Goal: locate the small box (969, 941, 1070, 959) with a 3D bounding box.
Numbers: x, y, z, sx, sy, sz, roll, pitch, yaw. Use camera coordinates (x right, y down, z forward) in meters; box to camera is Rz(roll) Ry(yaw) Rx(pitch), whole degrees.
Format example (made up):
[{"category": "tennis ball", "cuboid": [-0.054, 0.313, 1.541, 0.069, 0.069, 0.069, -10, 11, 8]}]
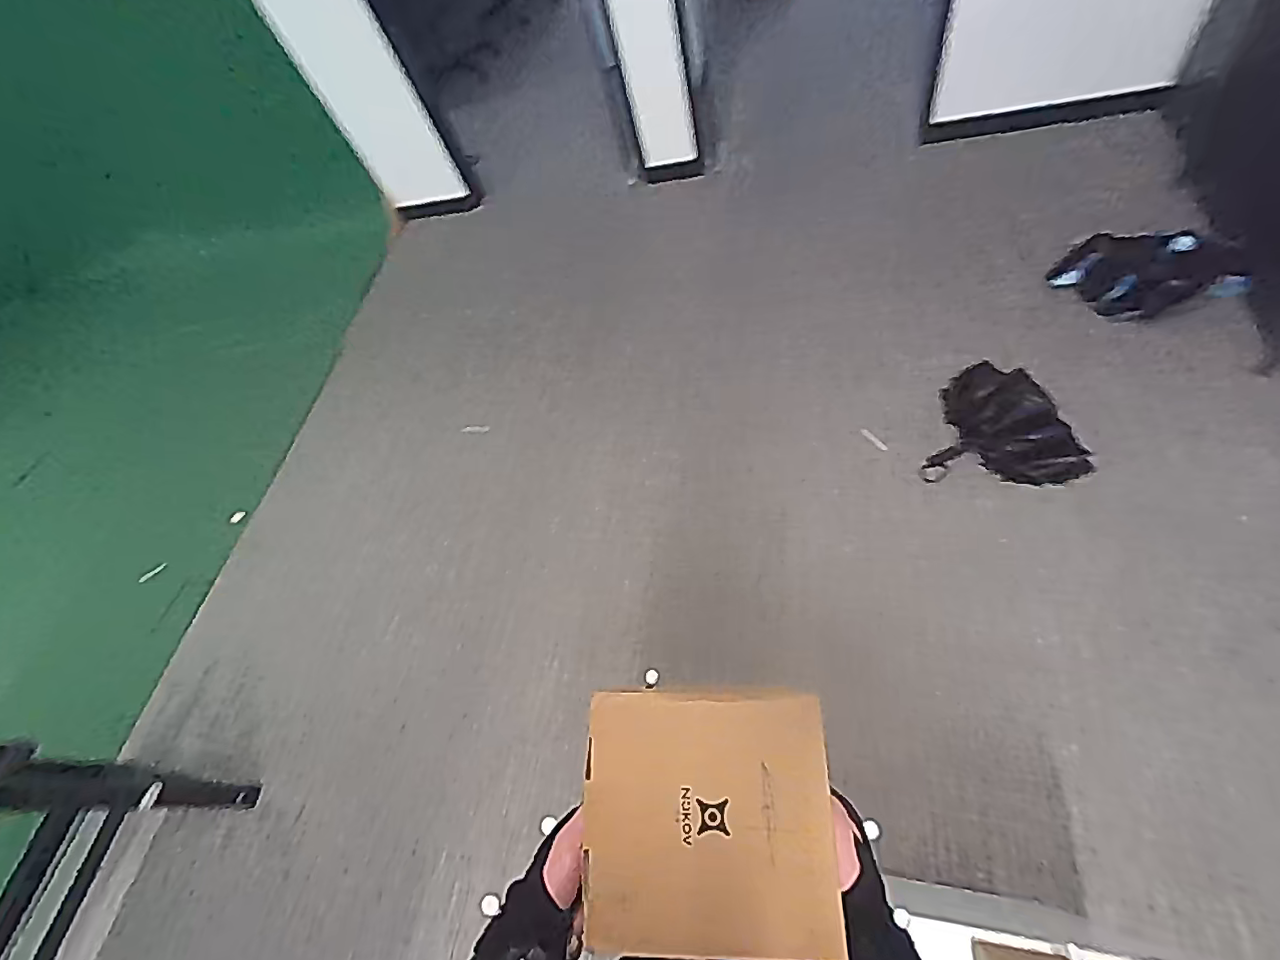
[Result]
[{"category": "small box", "cuboid": [0.434, 0.581, 0.512, 0.168, 0.176, 0.179, 0, 60, 16]}]
